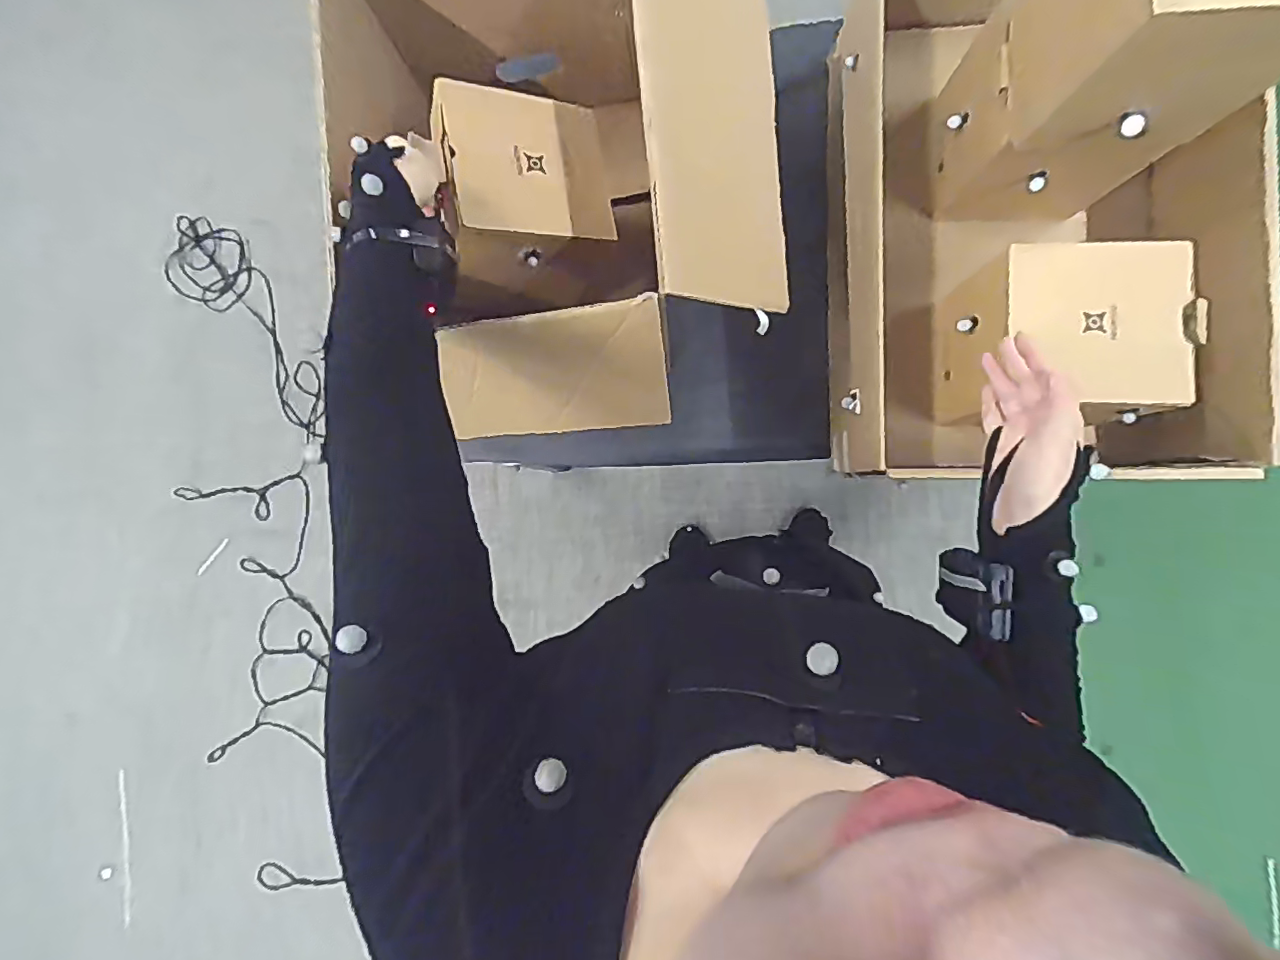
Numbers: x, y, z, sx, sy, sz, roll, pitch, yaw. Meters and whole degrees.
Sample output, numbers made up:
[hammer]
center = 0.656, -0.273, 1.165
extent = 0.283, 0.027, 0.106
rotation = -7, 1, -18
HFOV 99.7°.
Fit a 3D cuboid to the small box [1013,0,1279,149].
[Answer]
[small box]
center = 0.453, -0.420, 0.462
extent = 0.168, 0.176, 0.179
rotation = 1, 91, 5
